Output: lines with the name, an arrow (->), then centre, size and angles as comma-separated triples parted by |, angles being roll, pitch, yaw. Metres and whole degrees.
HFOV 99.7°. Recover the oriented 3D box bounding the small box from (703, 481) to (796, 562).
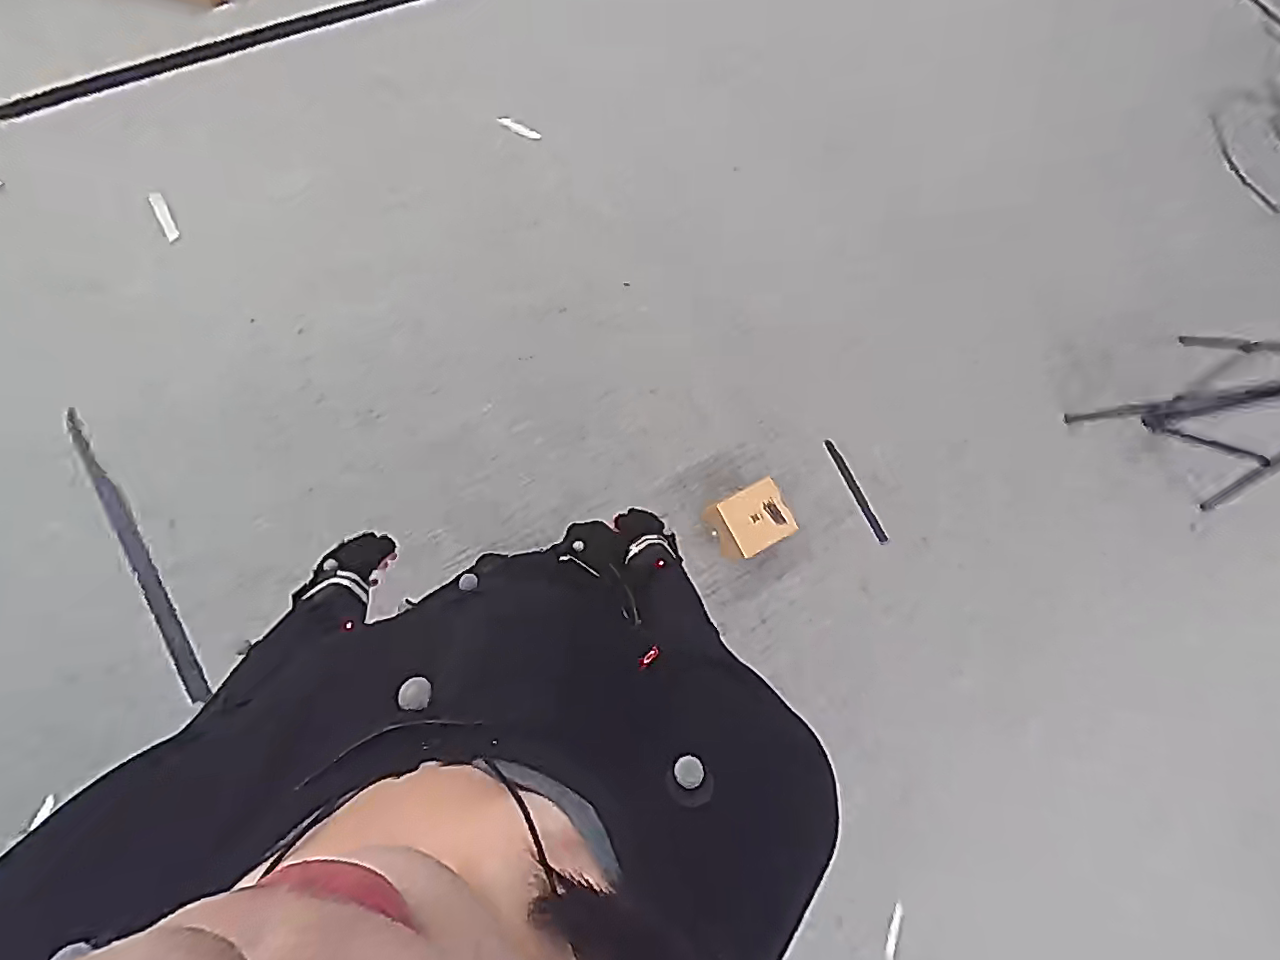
small box -> 0.303, 0.117, 1.530 | 0.179, 0.176, 0.168 | -27, 87, -10
